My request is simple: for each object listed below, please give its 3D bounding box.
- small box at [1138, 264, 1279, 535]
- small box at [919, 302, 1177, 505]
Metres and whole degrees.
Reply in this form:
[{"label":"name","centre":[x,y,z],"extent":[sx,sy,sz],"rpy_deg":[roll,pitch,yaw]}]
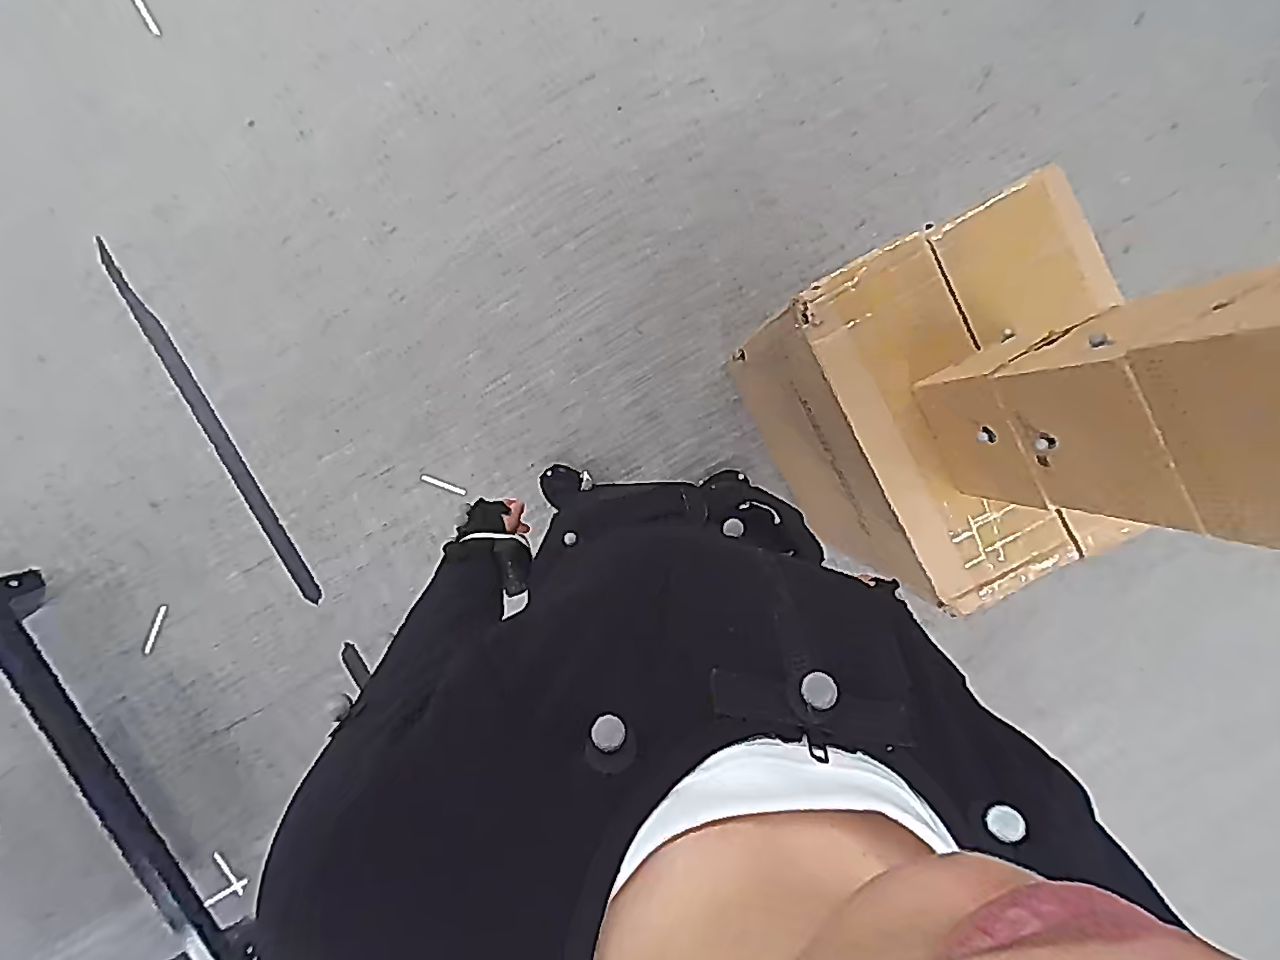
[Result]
[{"label":"small box","centre":[0.493,-0.062,0.345],"extent":[0.168,0.176,0.179],"rpy_deg":[-28,94,3]},{"label":"small box","centre":[0.489,-0.088,0.674],"extent":[0.168,0.176,0.179],"rpy_deg":[-28,94,3]}]
